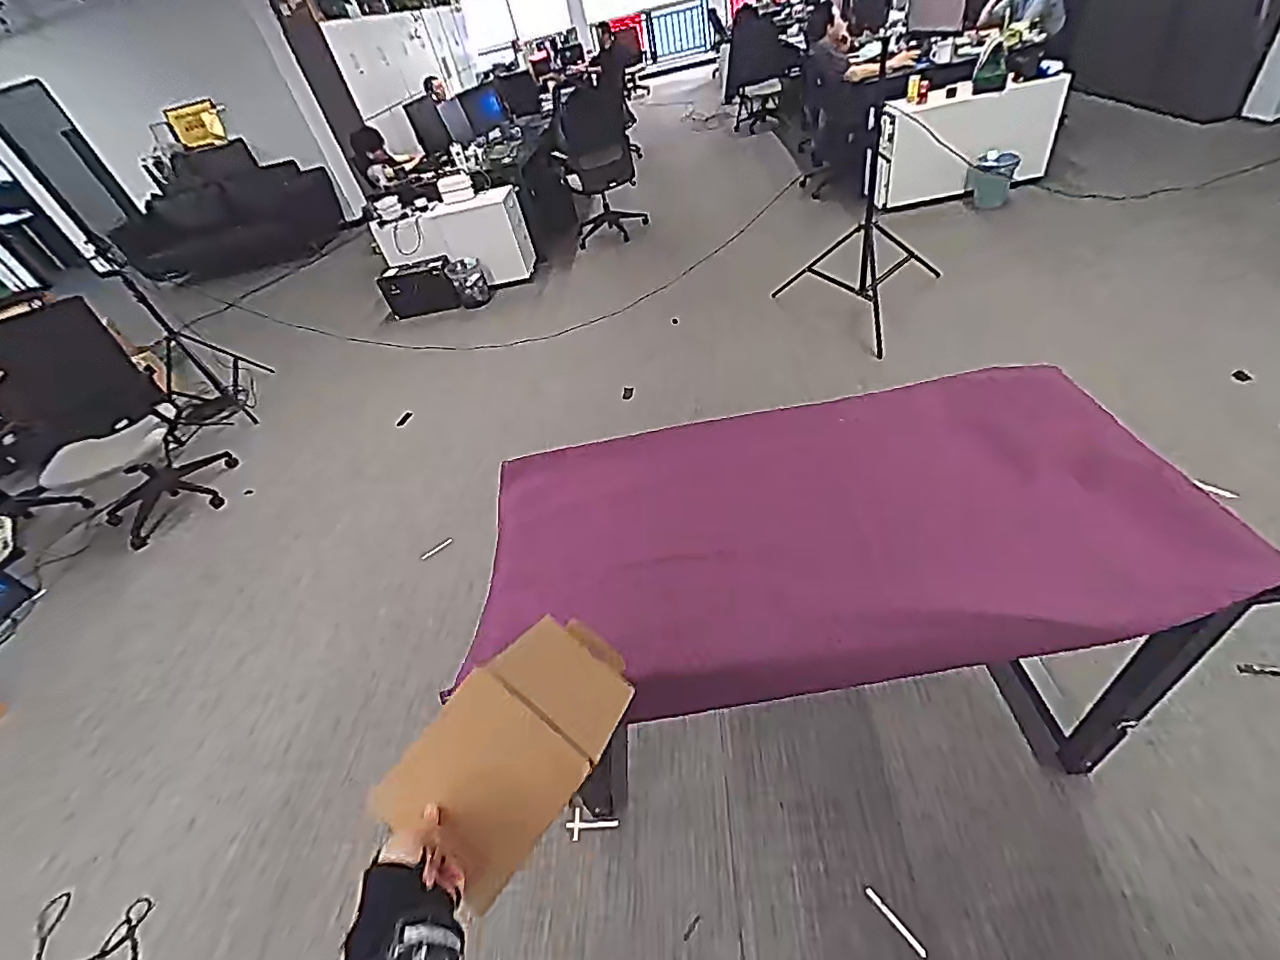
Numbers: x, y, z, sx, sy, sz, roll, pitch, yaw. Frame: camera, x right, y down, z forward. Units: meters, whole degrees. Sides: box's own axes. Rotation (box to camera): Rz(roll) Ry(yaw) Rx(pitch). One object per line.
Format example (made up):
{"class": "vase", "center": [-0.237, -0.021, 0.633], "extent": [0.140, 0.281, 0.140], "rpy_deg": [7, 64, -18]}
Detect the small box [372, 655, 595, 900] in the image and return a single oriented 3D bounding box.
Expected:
{"class": "small box", "center": [-0.174, 0.336, 0.650], "extent": [0.168, 0.176, 0.179], "rpy_deg": [40, 70, 9]}
